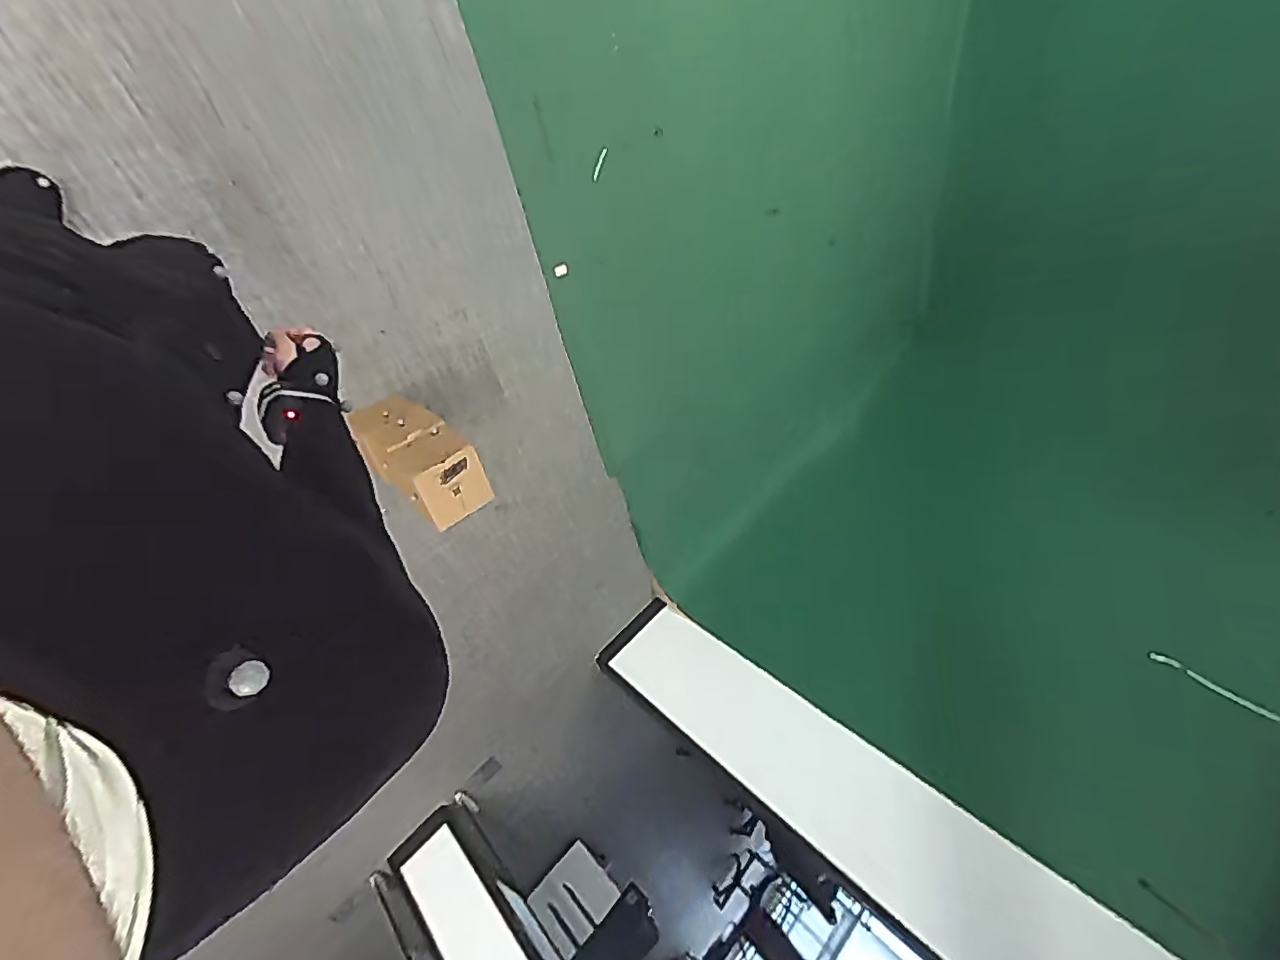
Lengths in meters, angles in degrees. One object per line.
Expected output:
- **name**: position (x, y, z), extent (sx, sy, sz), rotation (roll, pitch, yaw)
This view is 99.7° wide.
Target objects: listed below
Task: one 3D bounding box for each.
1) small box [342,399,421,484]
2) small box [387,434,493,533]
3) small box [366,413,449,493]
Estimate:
- **small box**: position (-0.733, -0.121, 1.588), extent (0.179, 0.176, 0.168), rotation (-35, 132, -30)
- **small box**: position (-0.510, -0.002, 1.378), extent (0.168, 0.176, 0.179), rotation (-36, 133, -29)
- **small box**: position (-0.618, -0.070, 1.483), extent (0.168, 0.176, 0.179), rotation (-35, 131, -29)
